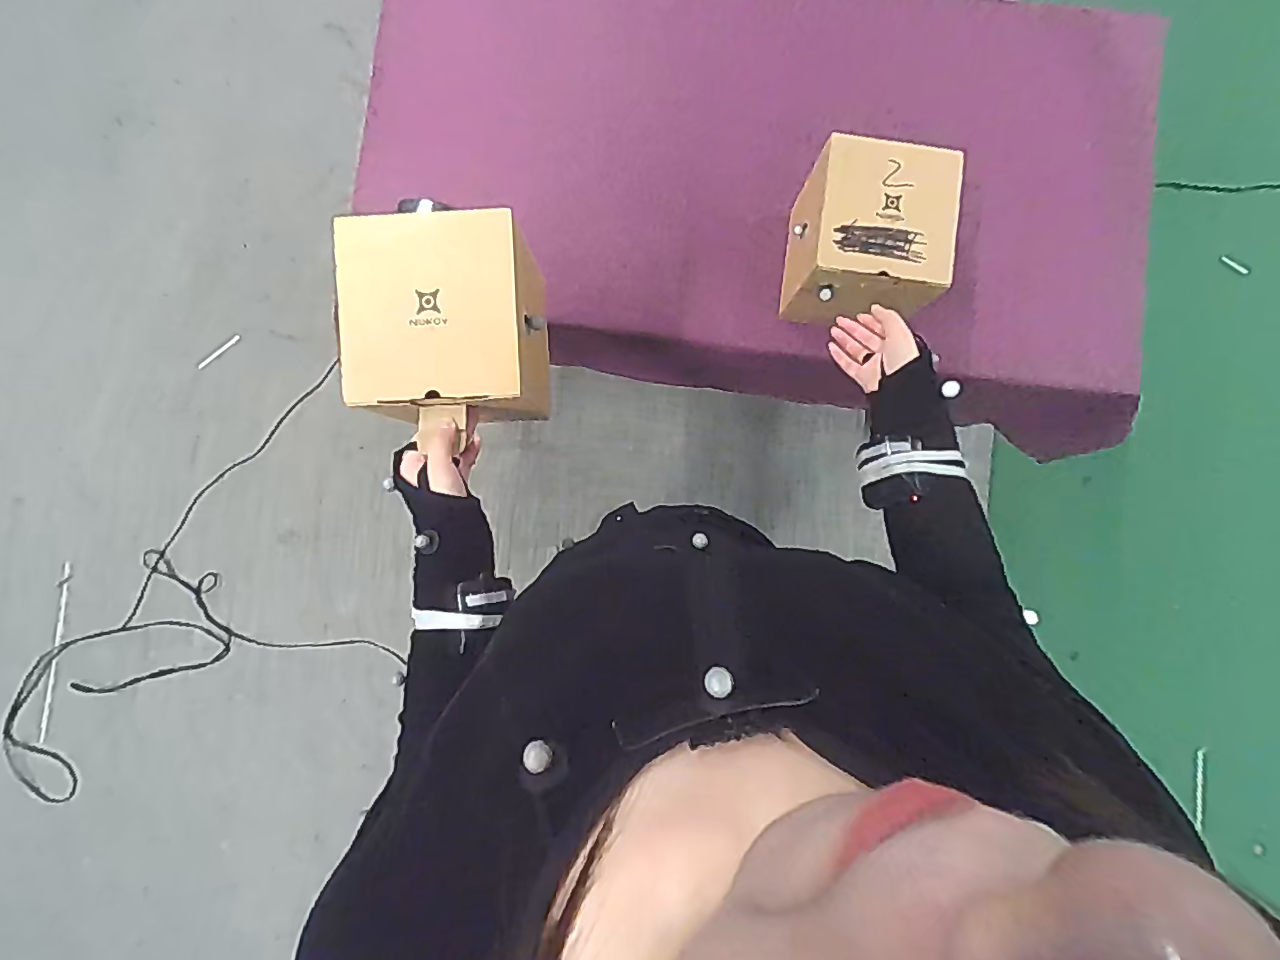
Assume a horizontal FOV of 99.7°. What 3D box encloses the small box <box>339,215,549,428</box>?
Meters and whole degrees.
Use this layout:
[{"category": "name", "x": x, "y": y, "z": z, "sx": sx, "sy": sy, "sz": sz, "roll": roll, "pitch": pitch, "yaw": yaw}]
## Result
[{"category": "small box", "x": -0.192, "y": -0.153, "z": 0.574, "sx": 0.168, "sy": 0.176, "sz": 0.179, "roll": -3, "pitch": 90, "yaw": -1}]
